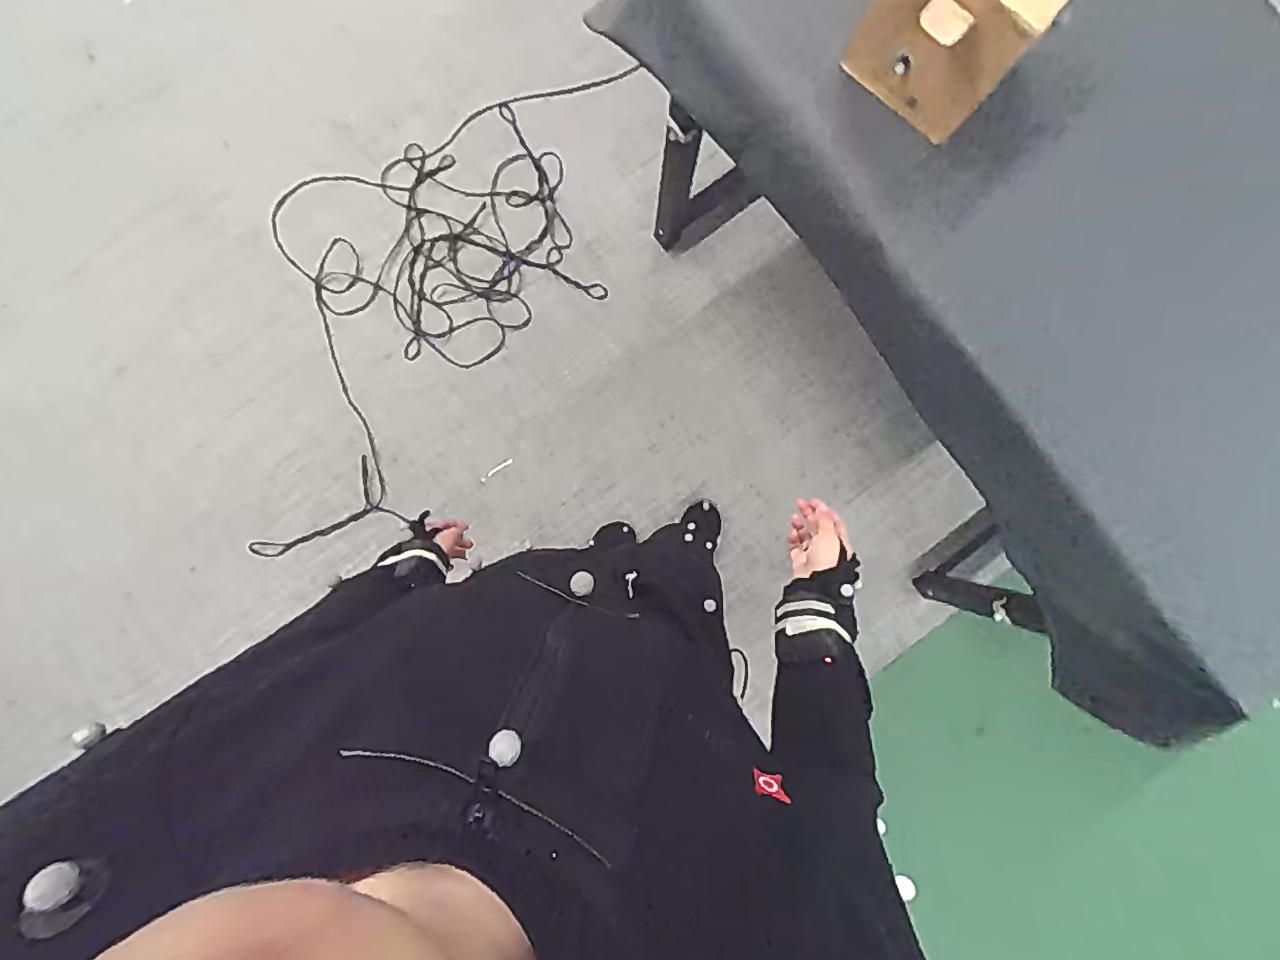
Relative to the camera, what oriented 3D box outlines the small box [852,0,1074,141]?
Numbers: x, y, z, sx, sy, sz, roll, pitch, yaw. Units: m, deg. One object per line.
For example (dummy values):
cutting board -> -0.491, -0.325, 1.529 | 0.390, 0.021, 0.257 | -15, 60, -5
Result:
small box -> 0.374, -0.540, 0.603 | 0.168, 0.176, 0.179 | 38, 87, -1
